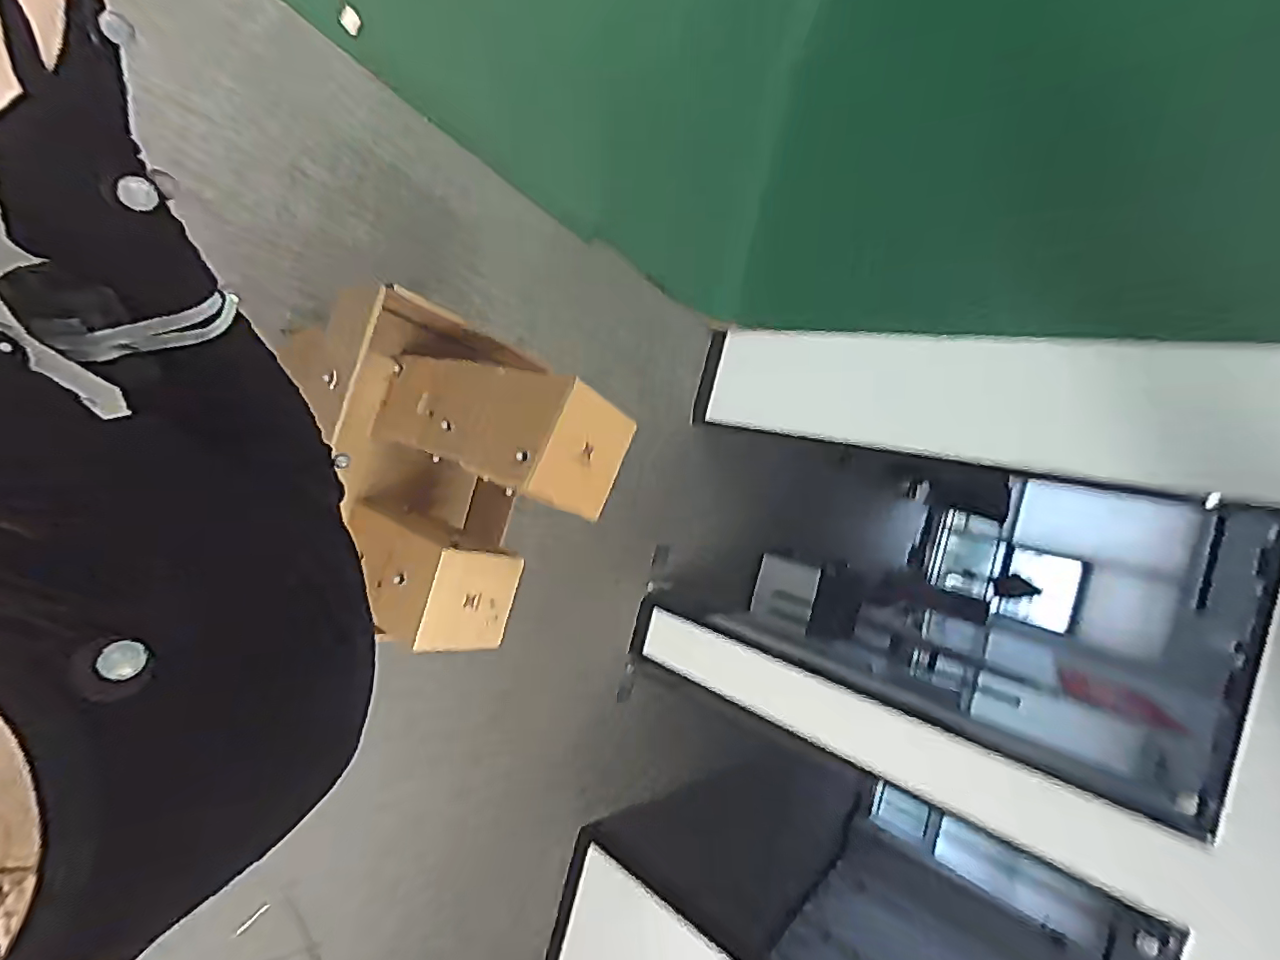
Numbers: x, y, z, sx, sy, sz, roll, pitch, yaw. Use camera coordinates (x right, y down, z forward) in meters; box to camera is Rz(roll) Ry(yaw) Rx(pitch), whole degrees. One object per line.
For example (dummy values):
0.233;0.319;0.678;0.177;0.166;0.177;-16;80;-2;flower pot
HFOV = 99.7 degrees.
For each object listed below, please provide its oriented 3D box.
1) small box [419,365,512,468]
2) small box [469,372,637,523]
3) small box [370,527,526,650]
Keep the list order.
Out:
-0.258;-0.095;0.965;0.179;0.176;0.168;28;81;-52;small box
-0.139;-0.055;0.861;0.168;0.176;0.179;33;78;-51;small box
-0.340;0.189;0.954;0.179;0.176;0.168;21;86;-52;small box
